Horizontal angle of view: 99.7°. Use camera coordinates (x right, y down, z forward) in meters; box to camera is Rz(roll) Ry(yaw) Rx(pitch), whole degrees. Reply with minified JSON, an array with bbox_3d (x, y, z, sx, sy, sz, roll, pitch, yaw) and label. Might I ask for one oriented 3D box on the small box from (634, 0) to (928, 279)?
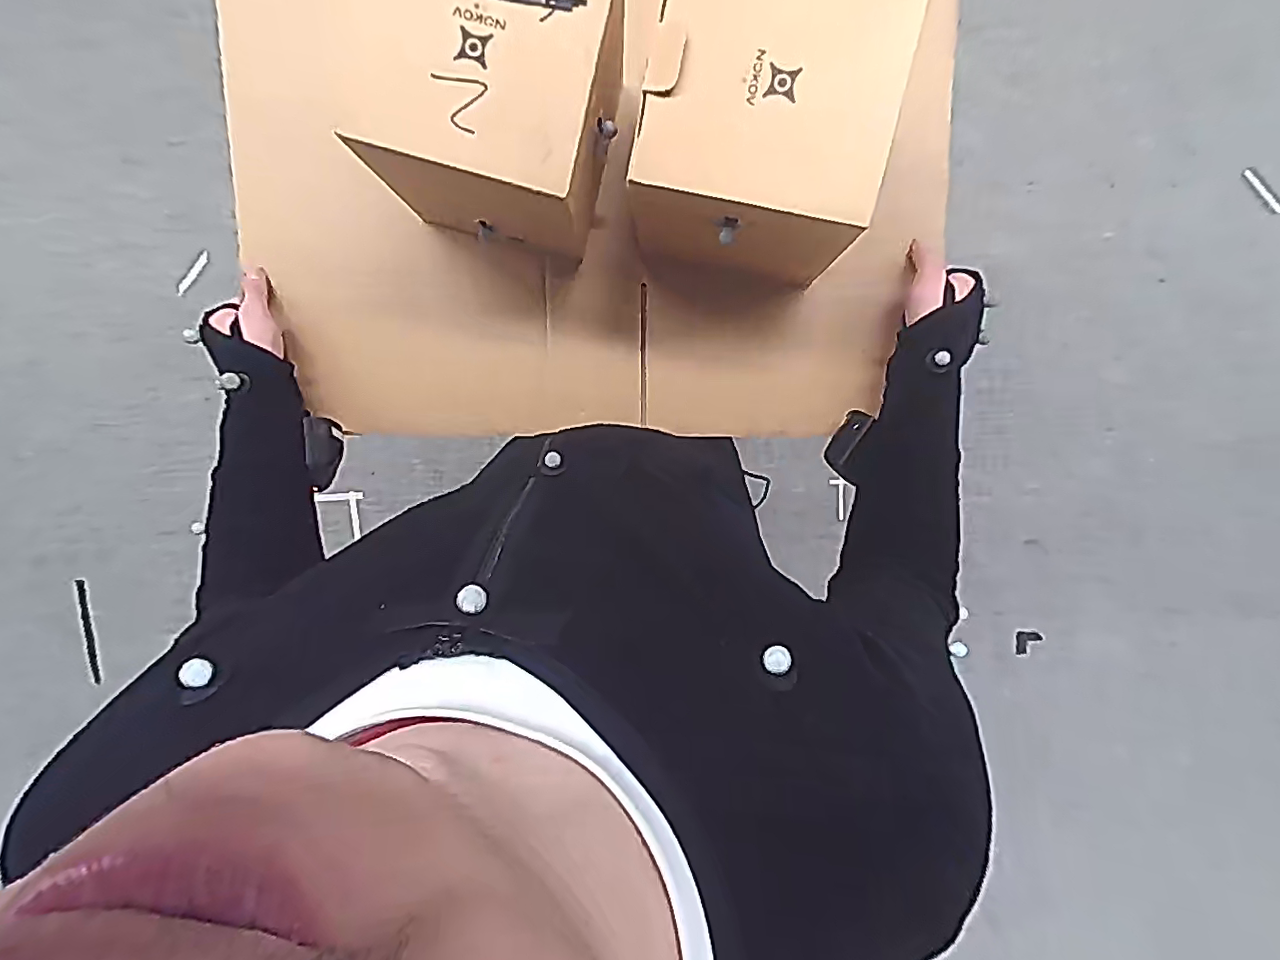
[{"bbox_3d":[0.102,-0.284,0.462,0.179,0.176,0.168,13,98,3],"label":"small box"}]
